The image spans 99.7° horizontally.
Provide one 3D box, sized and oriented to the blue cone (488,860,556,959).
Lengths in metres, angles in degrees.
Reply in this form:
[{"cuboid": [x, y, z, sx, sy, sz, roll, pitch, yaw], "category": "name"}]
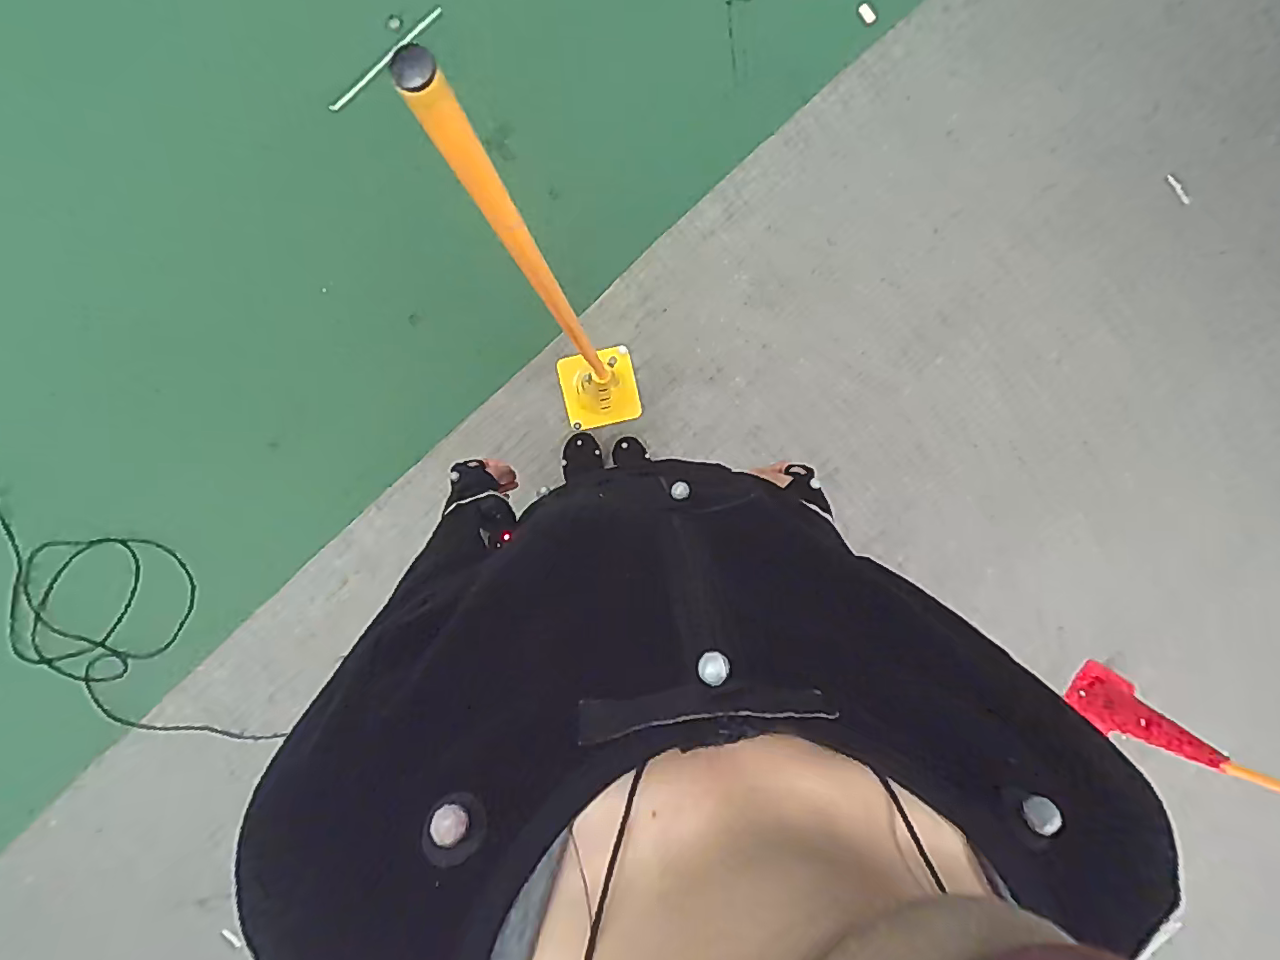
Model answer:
[{"cuboid": [-0.319, 1.192, 1.380, 0.192, 0.380, 0.193, 2, 97, -6], "category": "blue cone"}]
